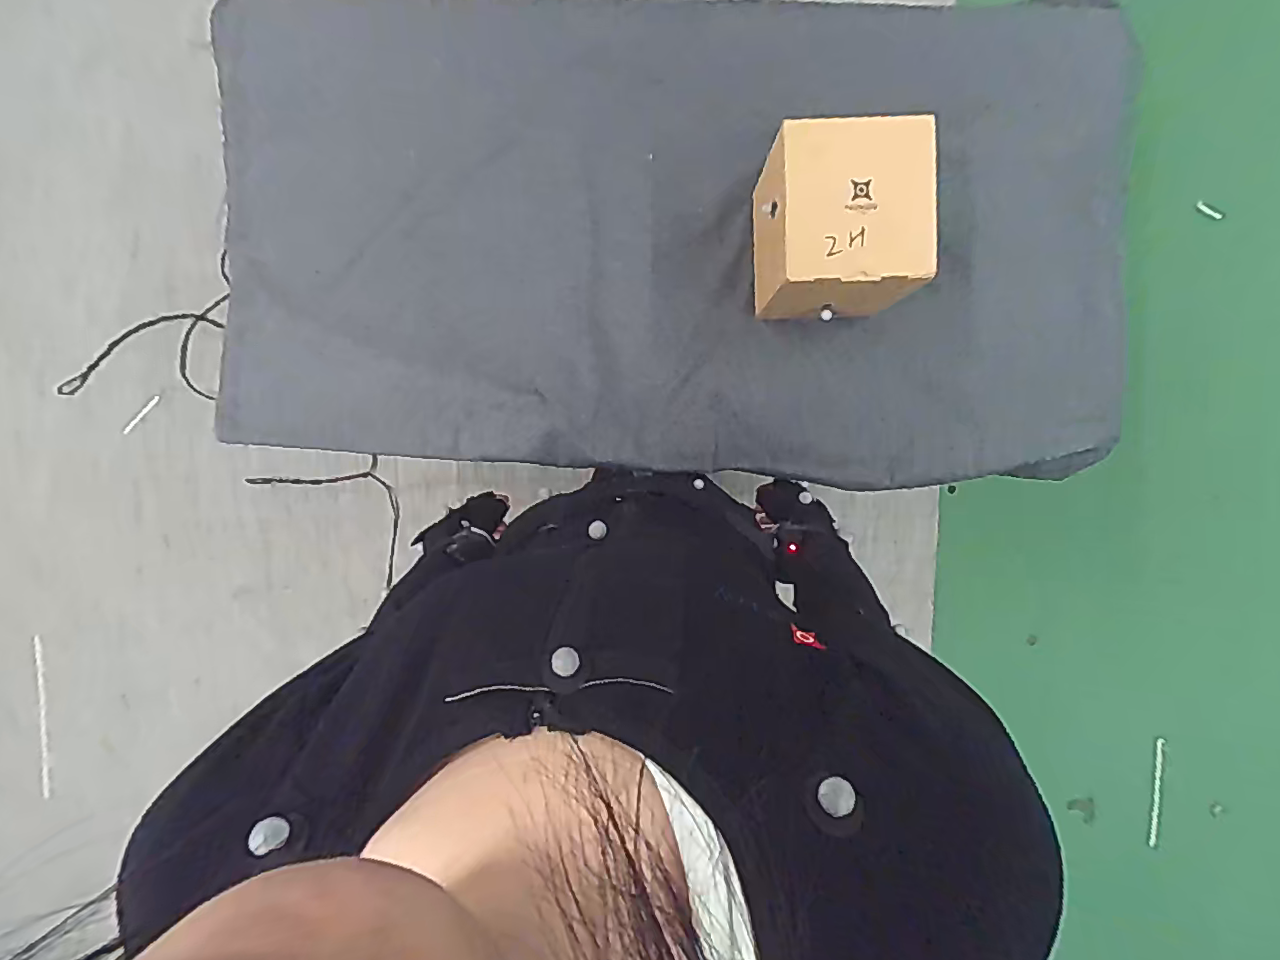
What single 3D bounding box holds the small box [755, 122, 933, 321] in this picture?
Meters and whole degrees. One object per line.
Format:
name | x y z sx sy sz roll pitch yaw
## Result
small box | 0.241 -0.309 0.676 0.168 0.176 0.179 -1 92 1
